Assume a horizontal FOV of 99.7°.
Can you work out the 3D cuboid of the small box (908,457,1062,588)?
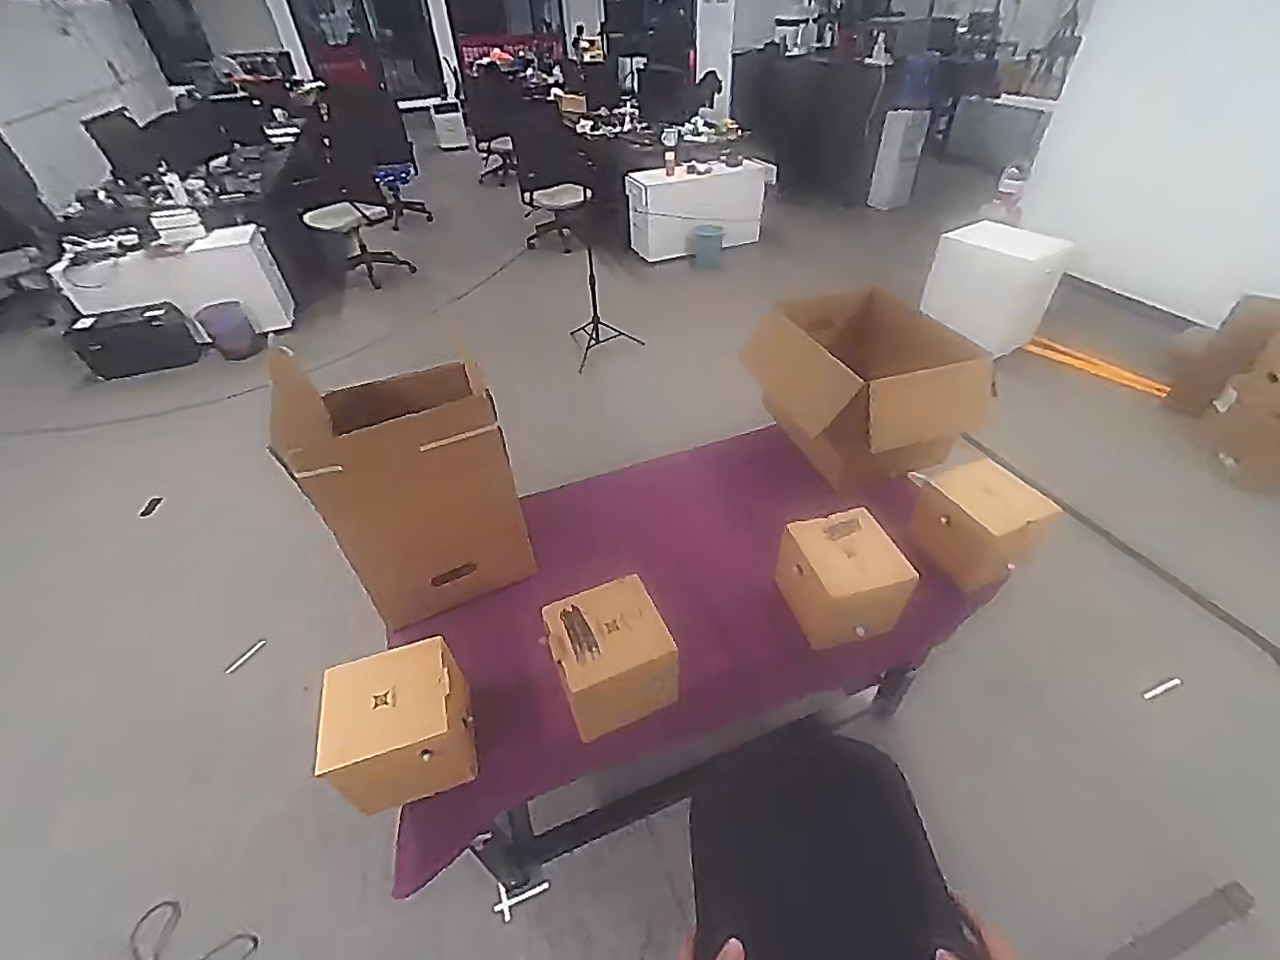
[{"bbox_3d":[0.682,0.086,1.096,0.168,0.176,0.179,-18,44,-14],"label":"small box"}]

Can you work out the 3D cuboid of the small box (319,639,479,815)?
[{"bbox_3d":[-0.363,0.384,0.839,0.179,0.176,0.168,-14,43,-14],"label":"small box"}]

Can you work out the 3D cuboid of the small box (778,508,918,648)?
[{"bbox_3d":[0.374,0.183,1.012,0.168,0.176,0.179,-12,44,-9],"label":"small box"}]
